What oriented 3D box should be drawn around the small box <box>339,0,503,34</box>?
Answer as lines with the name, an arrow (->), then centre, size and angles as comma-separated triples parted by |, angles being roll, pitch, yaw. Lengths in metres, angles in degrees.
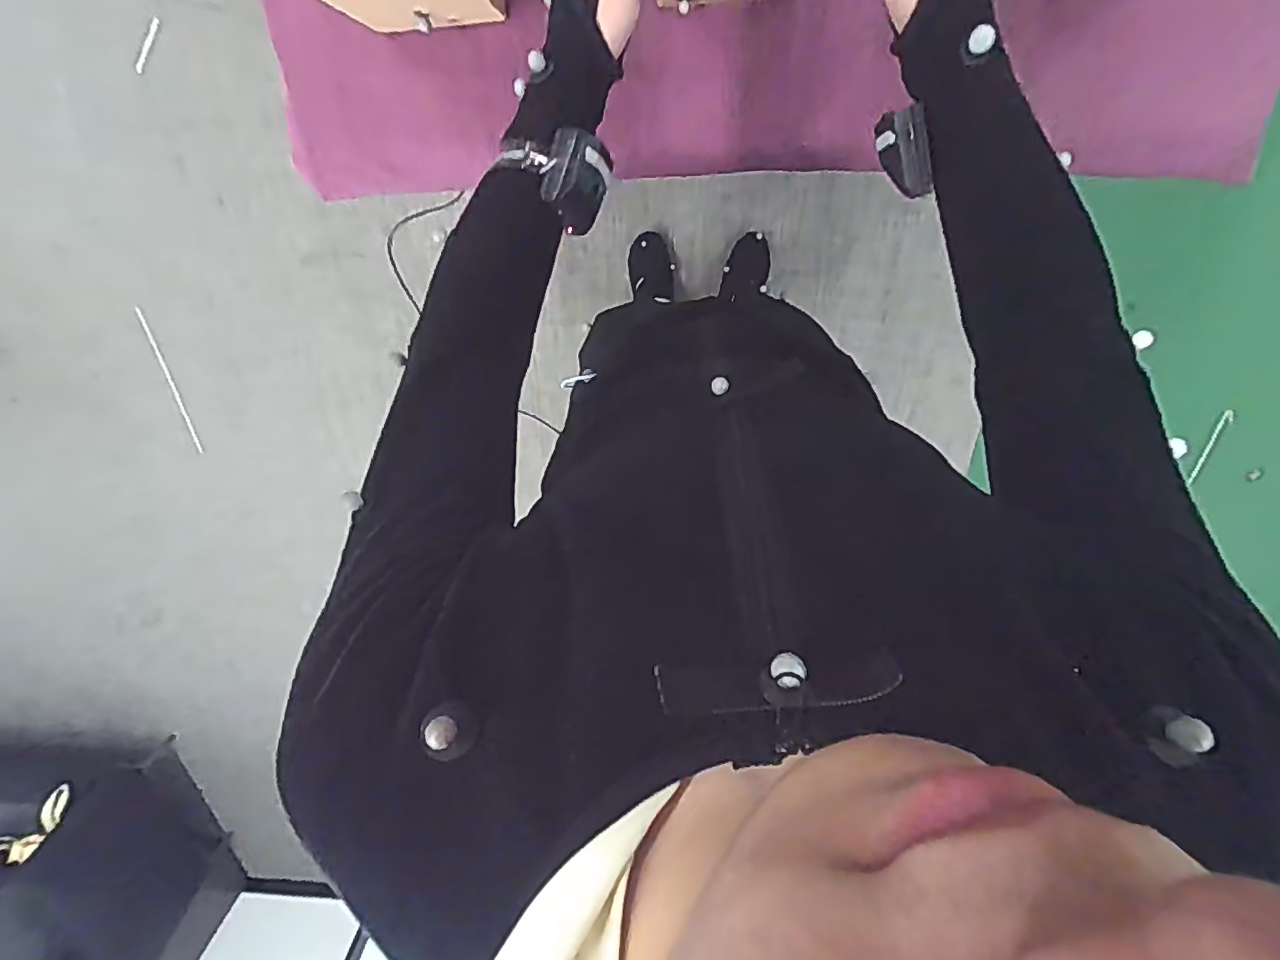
small box -> -0.254, -0.596, 0.555 | 0.168, 0.176, 0.179 | -1, 118, 5

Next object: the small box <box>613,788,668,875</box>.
small box -> 0.006, 1.168, 1.801 | 0.168, 0.176, 0.179 | 4, 117, 4
